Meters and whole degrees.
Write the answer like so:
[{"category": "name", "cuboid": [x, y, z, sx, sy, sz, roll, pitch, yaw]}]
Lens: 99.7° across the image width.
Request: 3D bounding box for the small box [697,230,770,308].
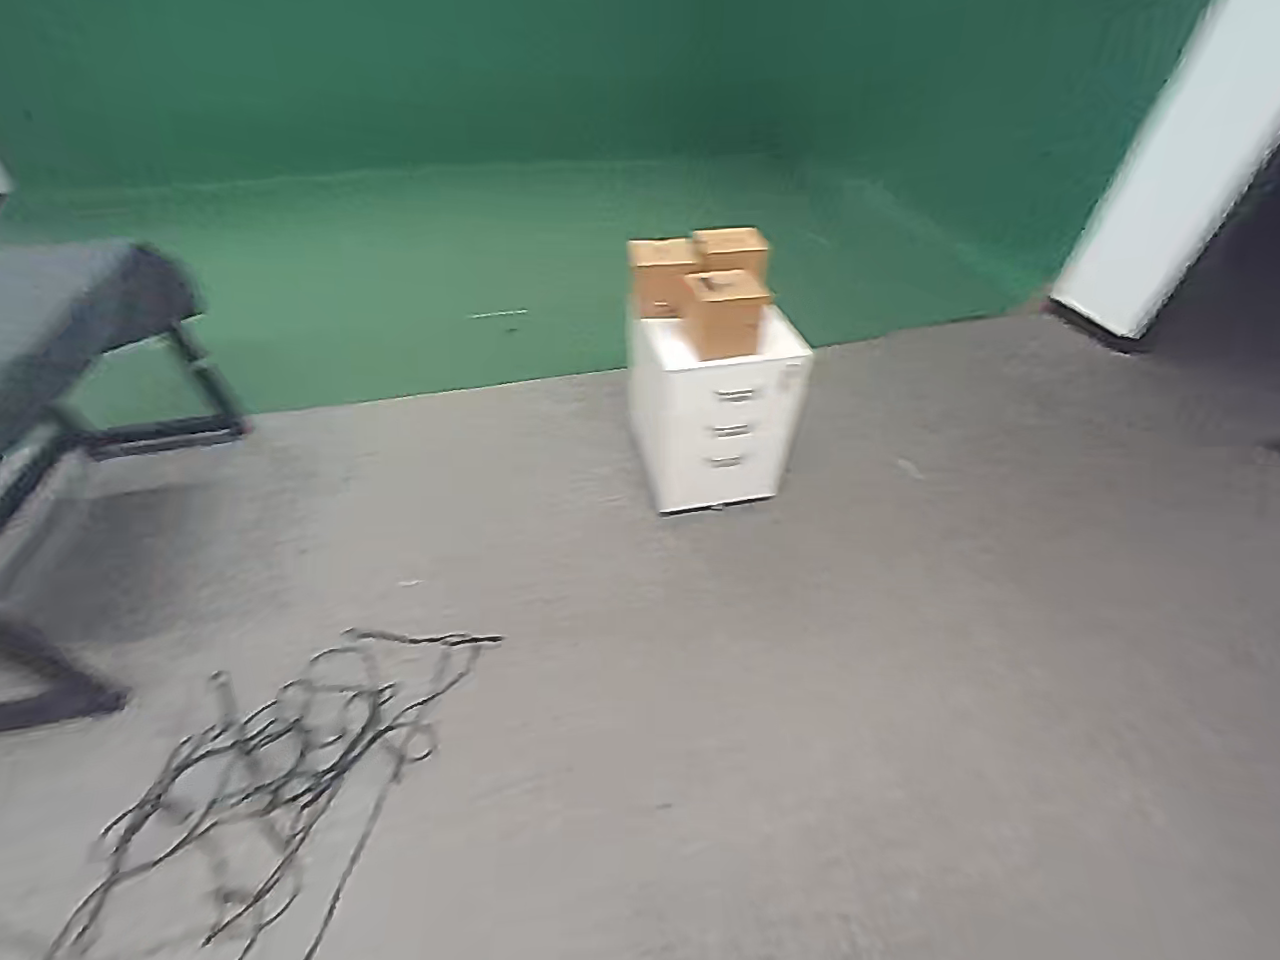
[{"category": "small box", "cuboid": [0.278, -0.643, 1.650, 0.179, 0.176, 0.168, -7, 46, -5]}]
